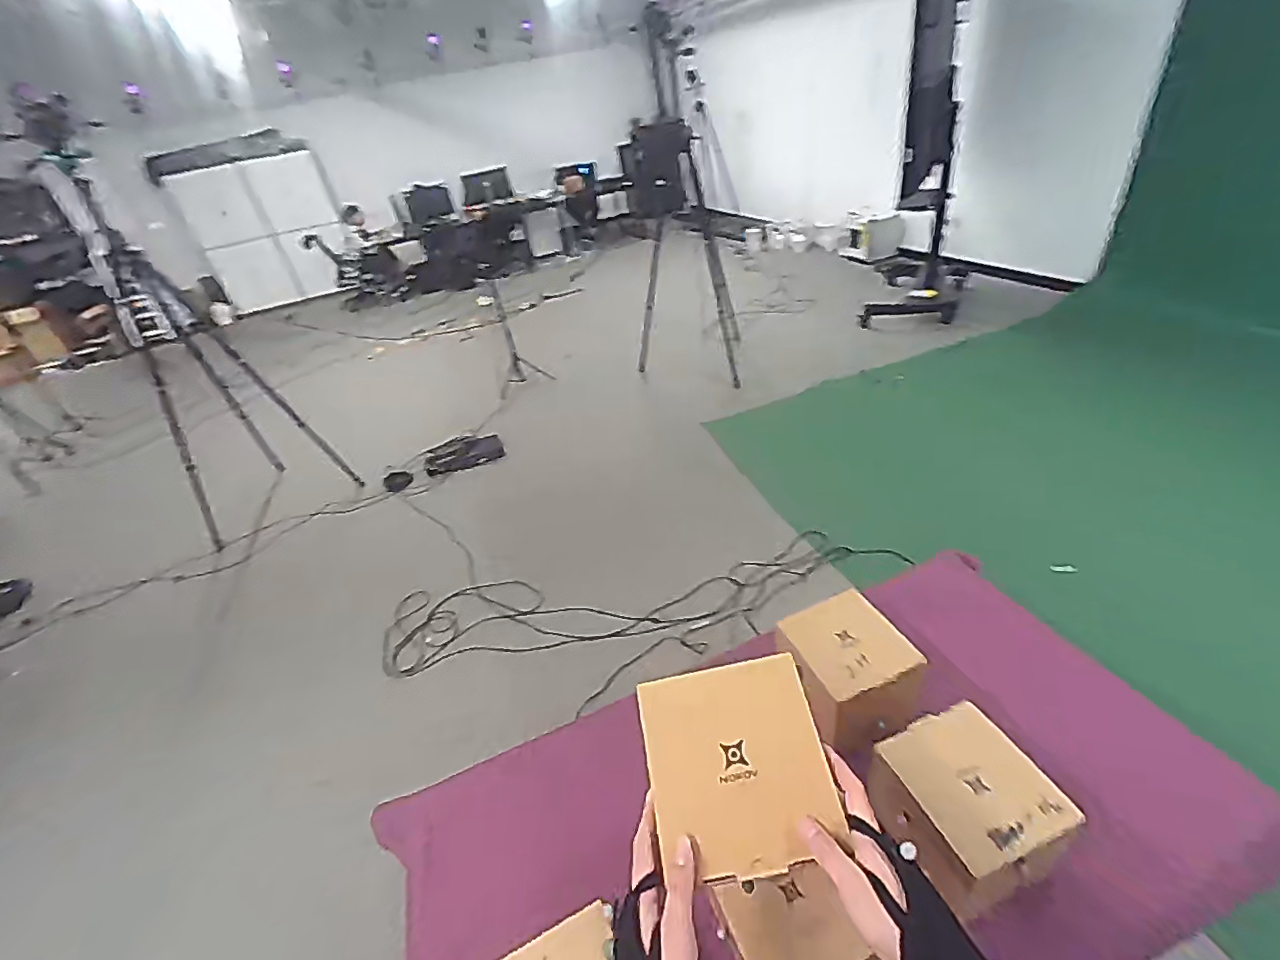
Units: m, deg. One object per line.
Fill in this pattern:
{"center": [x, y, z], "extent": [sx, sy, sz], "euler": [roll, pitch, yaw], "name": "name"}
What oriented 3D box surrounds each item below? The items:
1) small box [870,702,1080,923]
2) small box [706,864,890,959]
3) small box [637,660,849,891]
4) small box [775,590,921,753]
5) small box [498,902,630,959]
{"center": [0.439, 0.453, 0.745], "extent": [0.168, 0.176, 0.179], "euler": [-20, 34, -10], "name": "small box"}
{"center": [0.186, 0.551, 0.690], "extent": [0.168, 0.176, 0.179], "euler": [-21, 36, -11], "name": "small box"}
{"center": [0.098, 0.313, 0.571], "extent": [0.168, 0.176, 0.179], "euler": [-12, 54, 3], "name": "small box"}
{"center": [0.352, 0.332, 0.942], "extent": [0.168, 0.176, 0.179], "euler": [-20, 36, -10], "name": "small box"}
{"center": [-0.074, 0.651, 0.624], "extent": [0.168, 0.176, 0.179], "euler": [-22, 34, -14], "name": "small box"}
